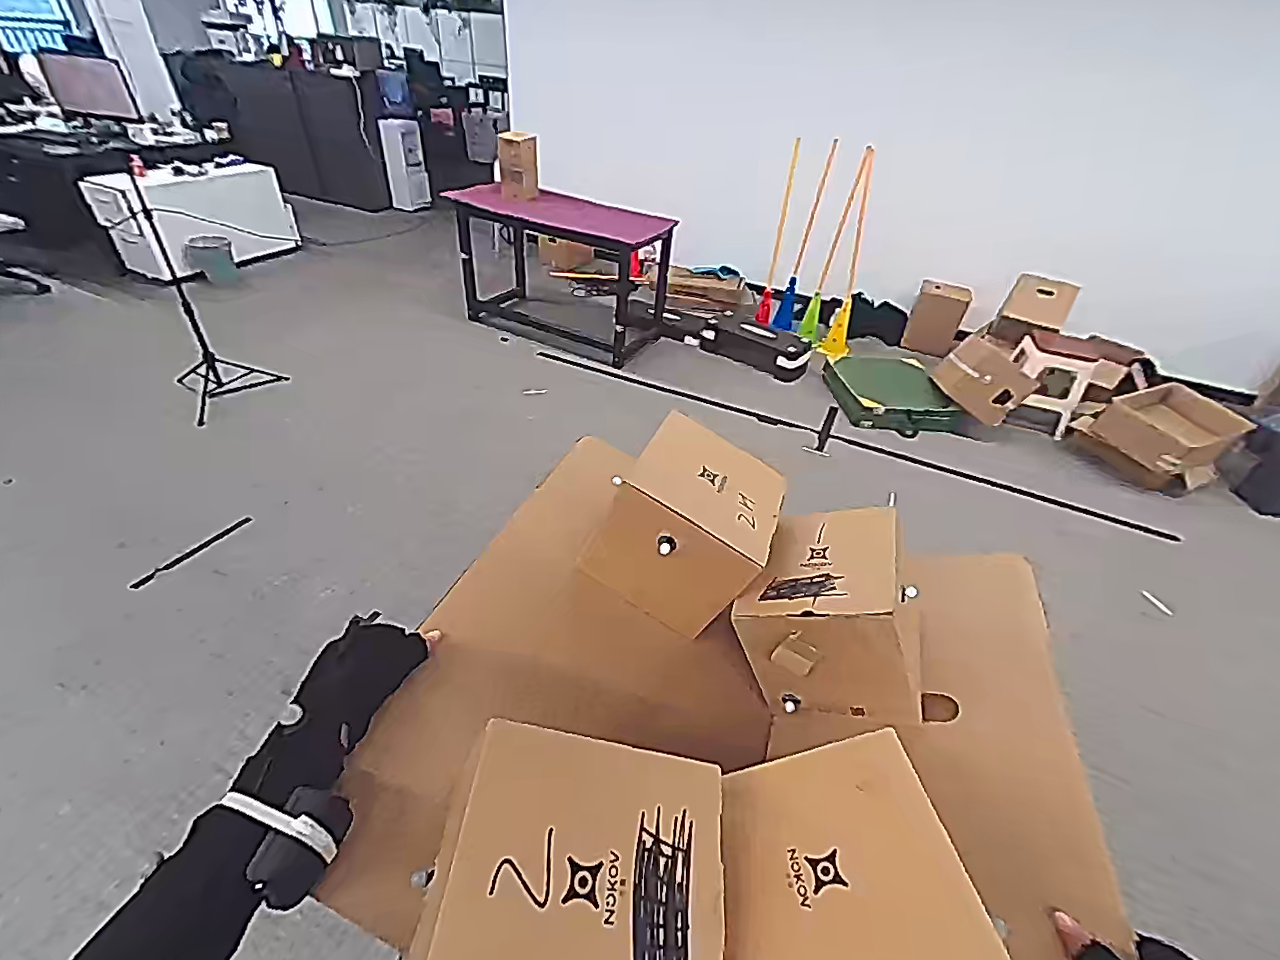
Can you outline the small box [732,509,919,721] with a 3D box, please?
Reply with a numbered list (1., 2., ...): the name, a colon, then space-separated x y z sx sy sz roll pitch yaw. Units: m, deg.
1. small box: 0.230 0.159 0.645 0.168 0.176 0.179 -8 29 31
